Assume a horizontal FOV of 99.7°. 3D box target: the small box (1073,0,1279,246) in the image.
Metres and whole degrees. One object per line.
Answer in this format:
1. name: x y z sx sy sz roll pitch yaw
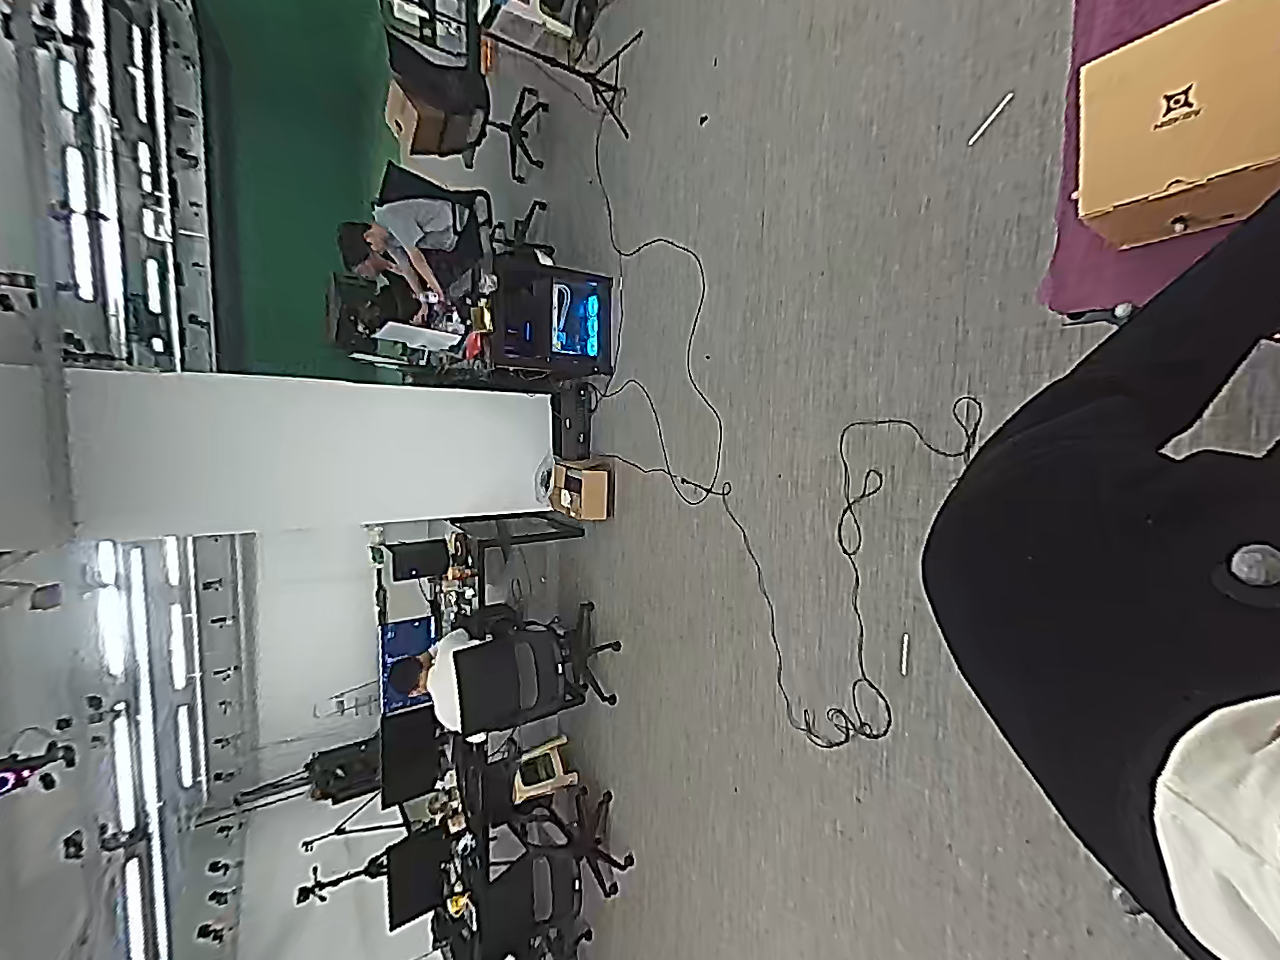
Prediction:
1. small box: 0.615 -0.390 0.607 0.168 0.176 0.179 2 94 54
